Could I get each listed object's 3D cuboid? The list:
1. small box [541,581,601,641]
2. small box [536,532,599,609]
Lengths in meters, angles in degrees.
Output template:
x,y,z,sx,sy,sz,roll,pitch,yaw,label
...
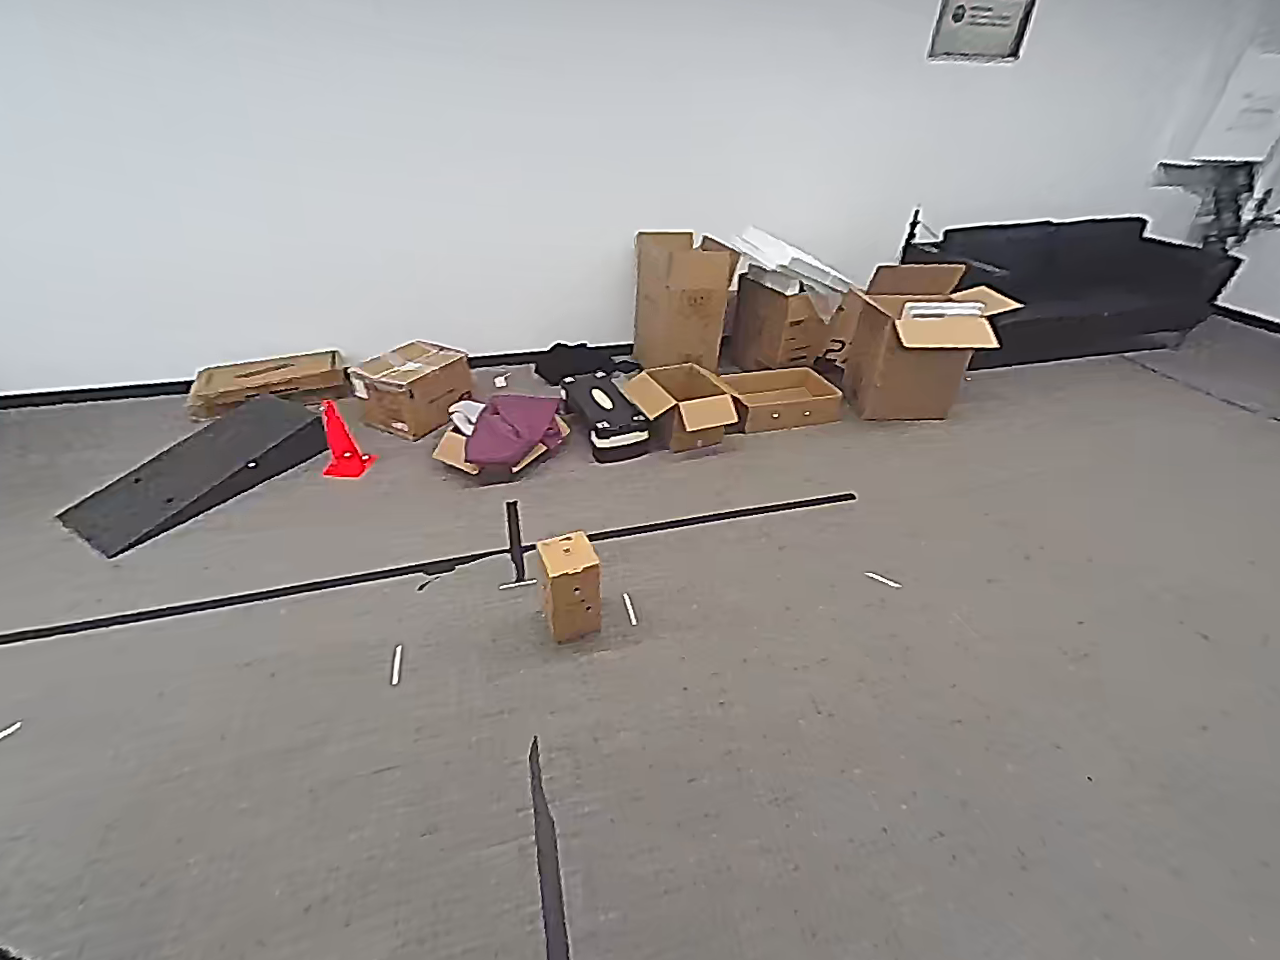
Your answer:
x,y,z,sx,sy,sz,roll,pitch,yaw,label
-0.243,0.434,1.898,0.179,0.176,0.168,-12,37,-18,small box
-0.239,0.306,1.796,0.168,0.176,0.179,-13,38,-19,small box
